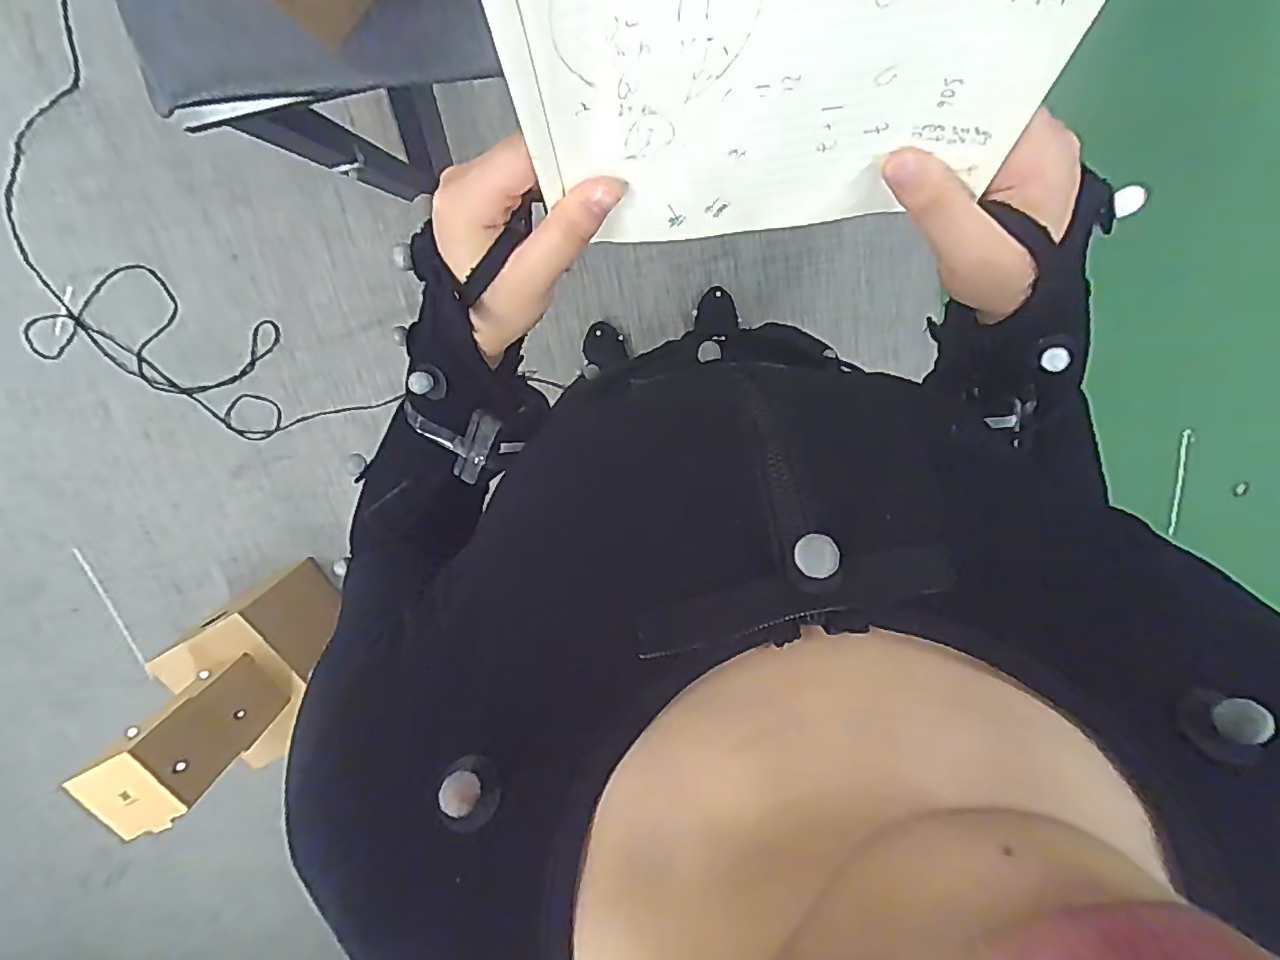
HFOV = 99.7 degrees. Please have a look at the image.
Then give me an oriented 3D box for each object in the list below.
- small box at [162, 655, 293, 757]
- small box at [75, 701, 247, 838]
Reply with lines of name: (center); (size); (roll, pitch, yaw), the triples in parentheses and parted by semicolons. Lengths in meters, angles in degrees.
small box: (-0.998, 0.564, 1.309); (0.168, 0.176, 0.179); (-28, 105, 8)
small box: (-1.004, 0.602, 1.151); (0.168, 0.176, 0.179); (-28, 106, 7)
